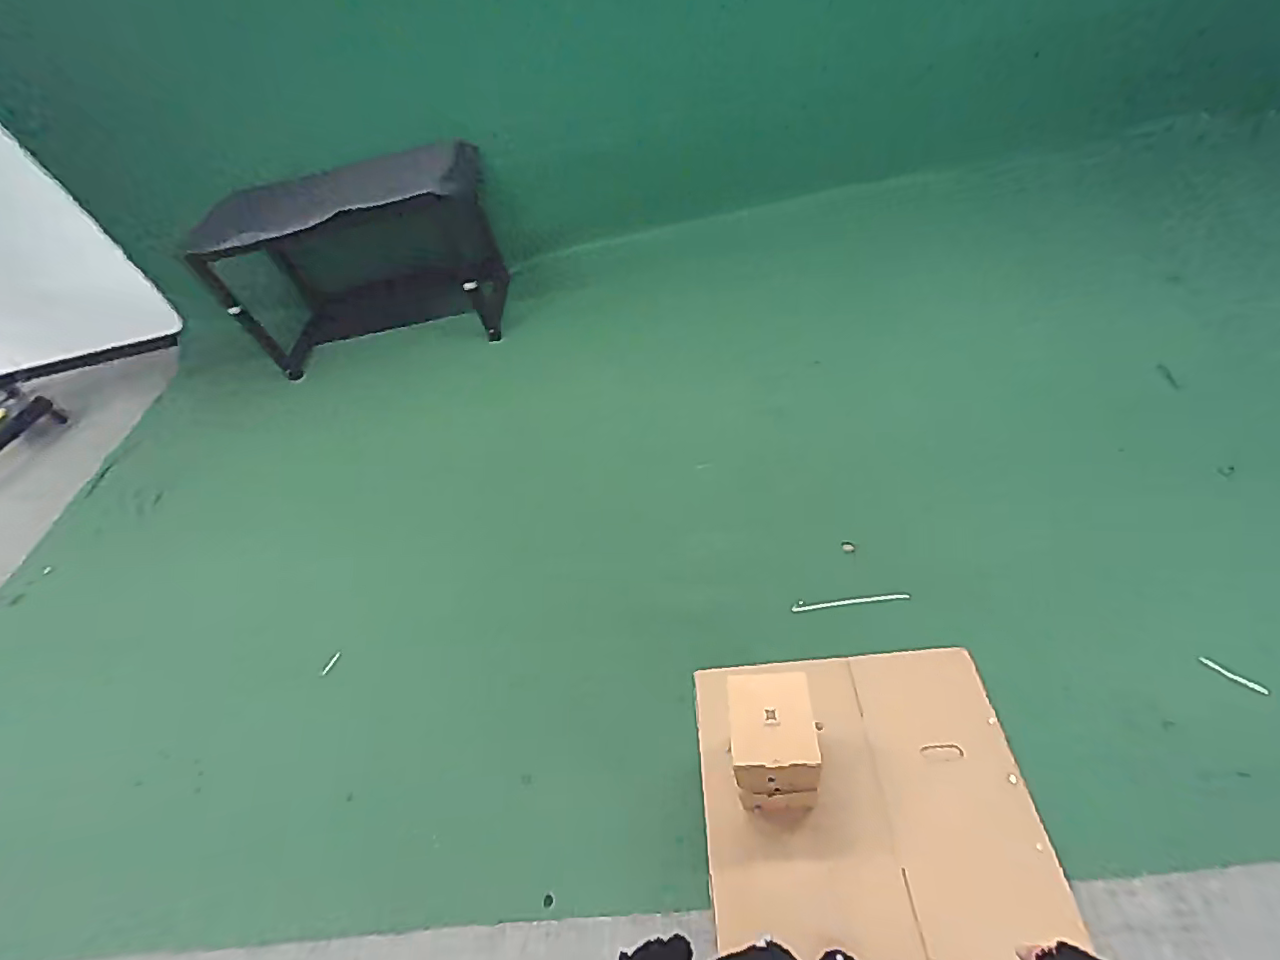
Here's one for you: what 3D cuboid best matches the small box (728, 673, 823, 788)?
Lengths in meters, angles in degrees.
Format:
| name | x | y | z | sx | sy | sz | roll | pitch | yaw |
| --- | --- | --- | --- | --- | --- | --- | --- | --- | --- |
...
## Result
| name | x | y | z | sx | sy | sz | roll | pitch | yaw |
| --- | --- | --- | --- | --- | --- | --- | --- | --- | --- |
| small box | 0.272 | 0.517 | 1.112 | 0.168 | 0.176 | 0.179 | -7 | 49 | 10 |

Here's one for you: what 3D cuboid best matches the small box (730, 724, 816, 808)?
| name | x | y | z | sx | sy | sz | roll | pitch | yaw |
| --- | --- | --- | --- | --- | --- | --- | --- | --- | --- |
| small box | 0.300 | 0.631 | 1.224 | 0.168 | 0.176 | 0.179 | -8 | 48 | 9 |
